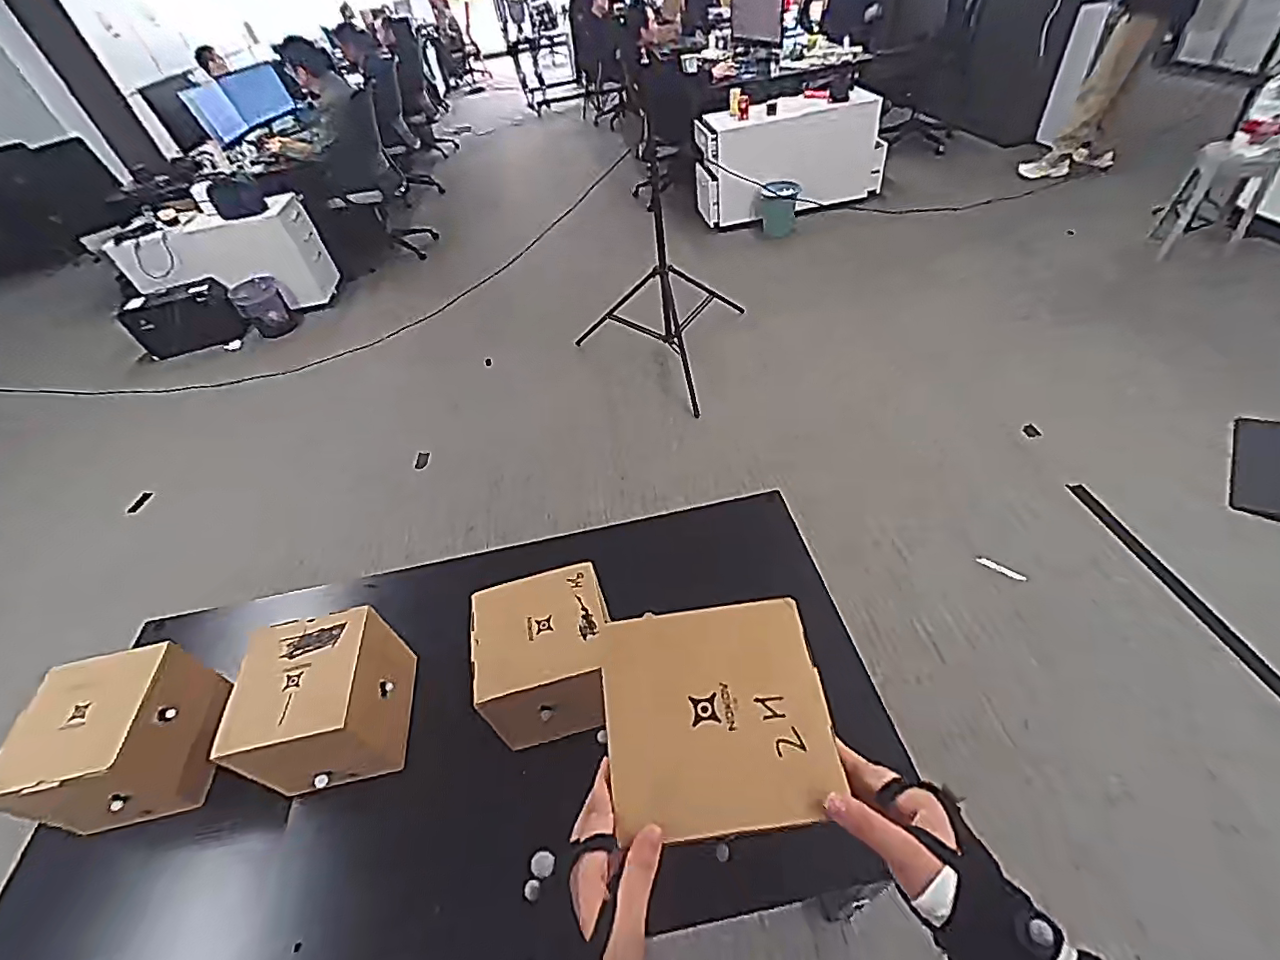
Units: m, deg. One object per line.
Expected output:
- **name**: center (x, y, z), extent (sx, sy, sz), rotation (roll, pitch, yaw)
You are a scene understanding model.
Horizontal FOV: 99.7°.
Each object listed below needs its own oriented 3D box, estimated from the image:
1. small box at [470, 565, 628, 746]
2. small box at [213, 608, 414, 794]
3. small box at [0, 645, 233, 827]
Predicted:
- **small box**: center (-0.127, 0.254, 0.772), extent (0.179, 0.176, 0.168), rotation (-15, 46, -4)
- **small box**: center (-0.439, 0.313, 0.766), extent (0.168, 0.176, 0.179), rotation (-12, 46, -2)
- **small box**: center (-0.722, 0.366, 0.764), extent (0.168, 0.176, 0.179), rotation (-12, 44, -4)
